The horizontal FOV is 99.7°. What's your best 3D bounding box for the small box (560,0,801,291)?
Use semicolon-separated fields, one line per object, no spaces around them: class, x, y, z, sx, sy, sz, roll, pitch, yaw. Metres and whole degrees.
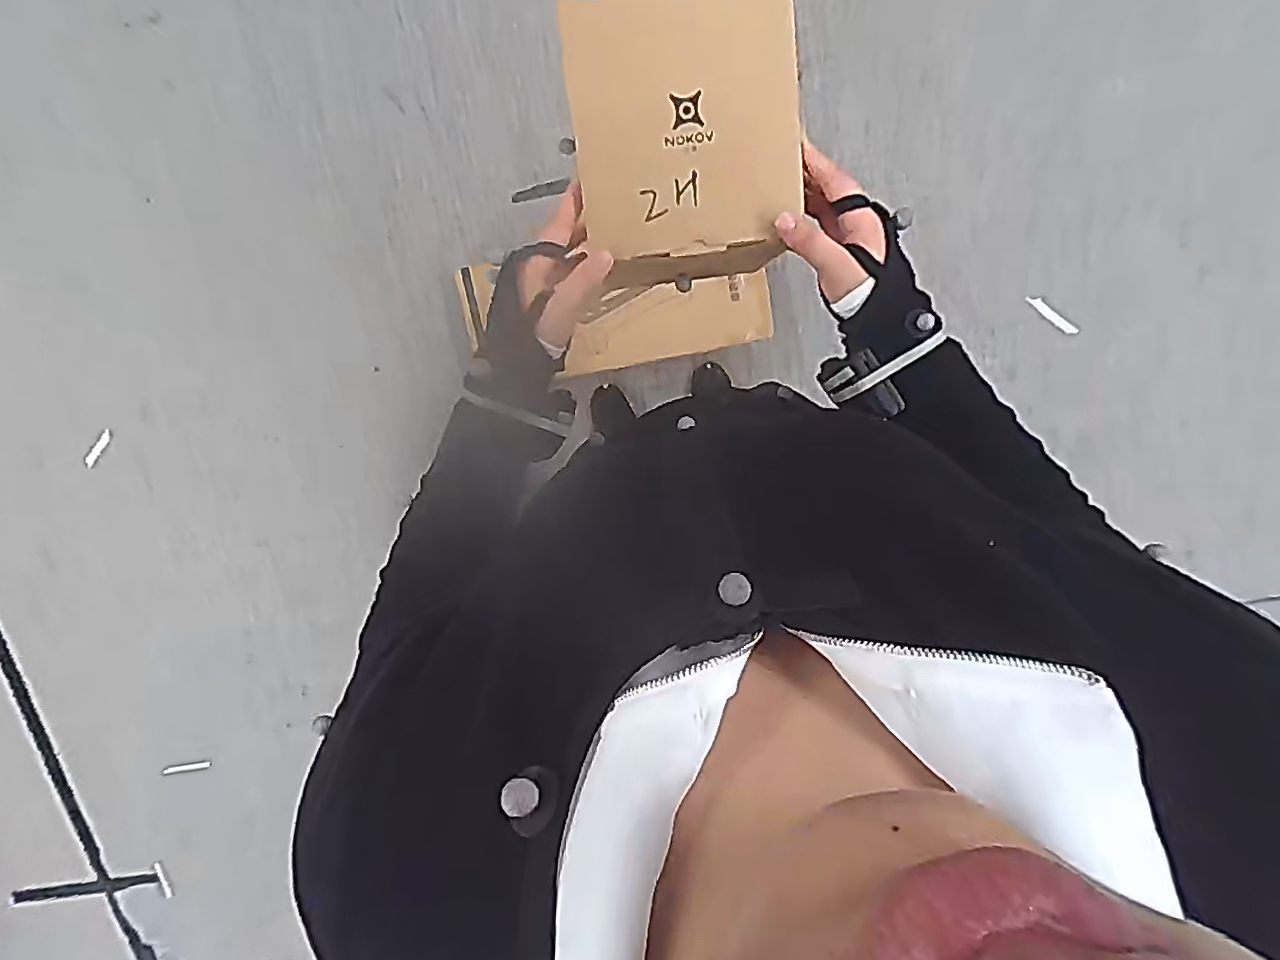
small box;0.030;-0.275;0.470;0.168;0.176;0.179;-7;102;1
